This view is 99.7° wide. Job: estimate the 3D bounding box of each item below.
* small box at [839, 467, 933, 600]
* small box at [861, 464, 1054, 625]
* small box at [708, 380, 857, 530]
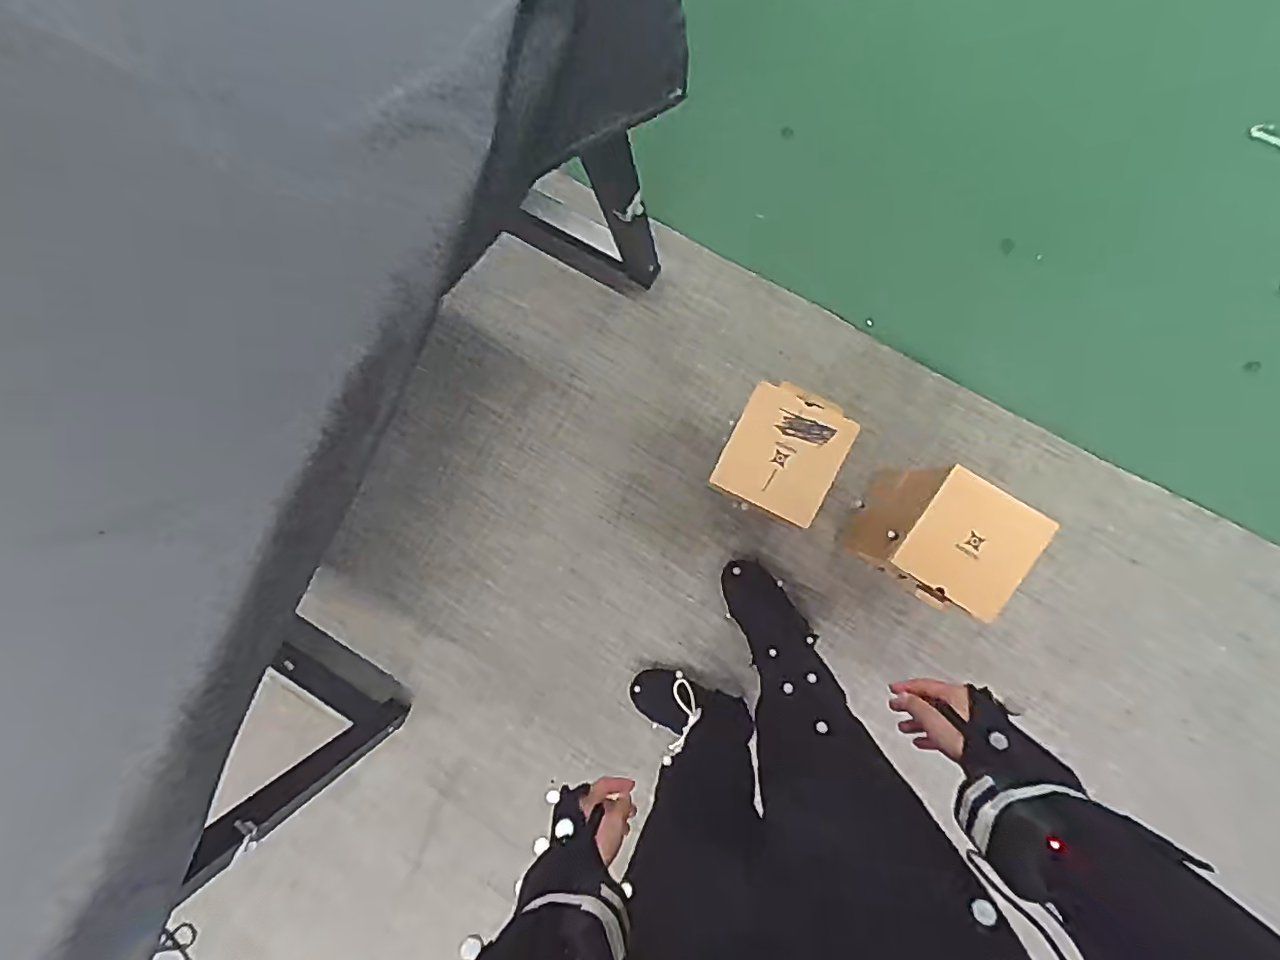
[{"bbox_3d":[0.495,0.091,1.011,0.168,0.176,0.179,31,95,5],"label":"small box"},{"bbox_3d":[0.478,0.091,0.848,0.168,0.176,0.179,33,94,6],"label":"small box"},{"bbox_3d":[0.219,-0.038,0.881,0.168,0.176,0.179,27,94,7],"label":"small box"}]
